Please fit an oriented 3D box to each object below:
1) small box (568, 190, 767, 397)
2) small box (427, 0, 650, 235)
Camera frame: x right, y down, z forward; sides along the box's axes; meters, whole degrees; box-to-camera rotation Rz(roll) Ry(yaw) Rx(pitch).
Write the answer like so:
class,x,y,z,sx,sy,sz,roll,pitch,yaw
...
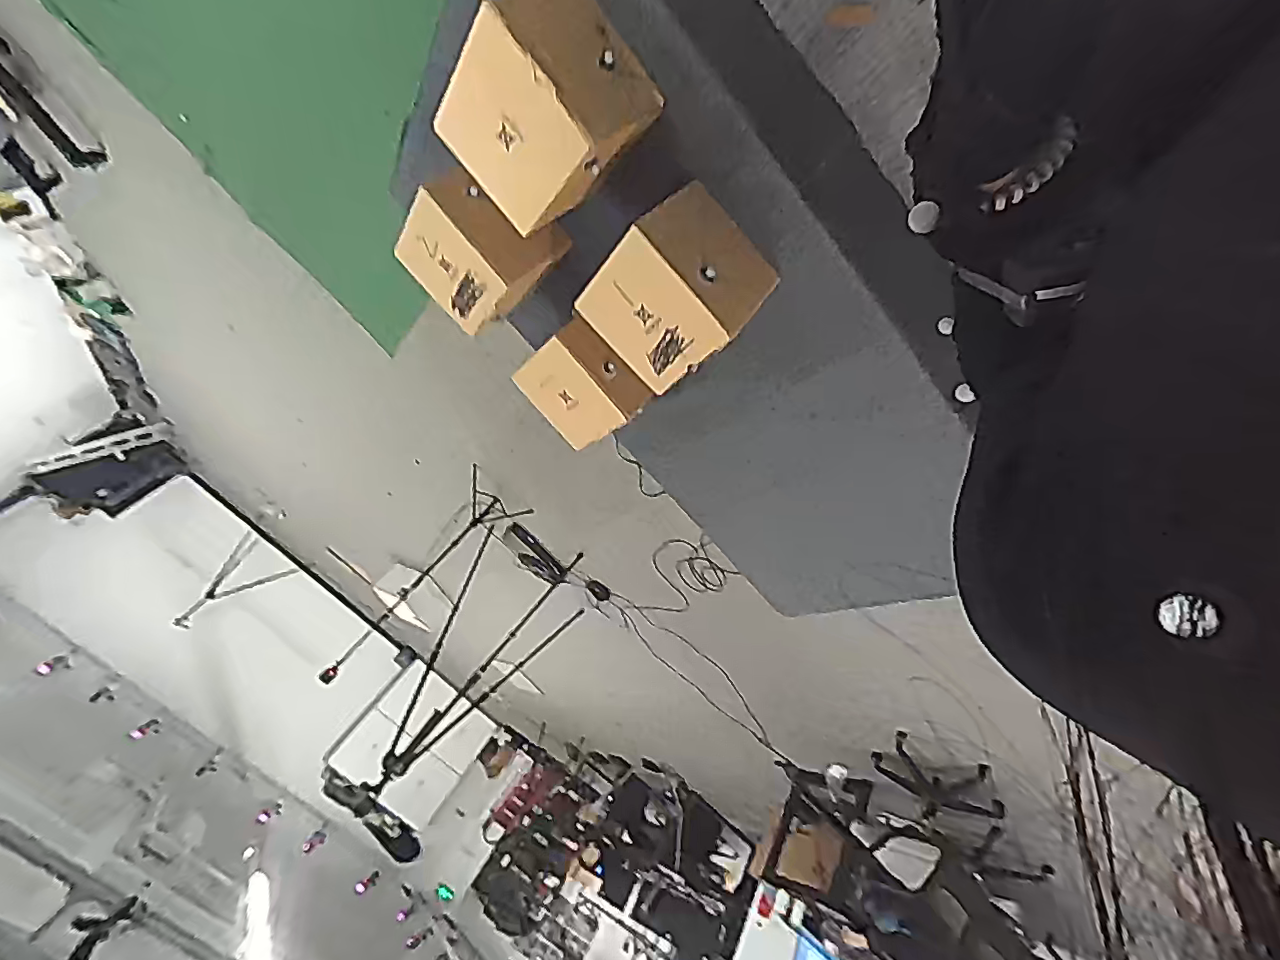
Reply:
class,x,y,z,sx,sy,sz,roll,pitch,yaw
small box,0.042,-0.252,0.736,0.179,0.176,0.168,46,143,-10
small box,-0.120,-0.445,0.662,0.168,0.176,0.179,49,142,-16
